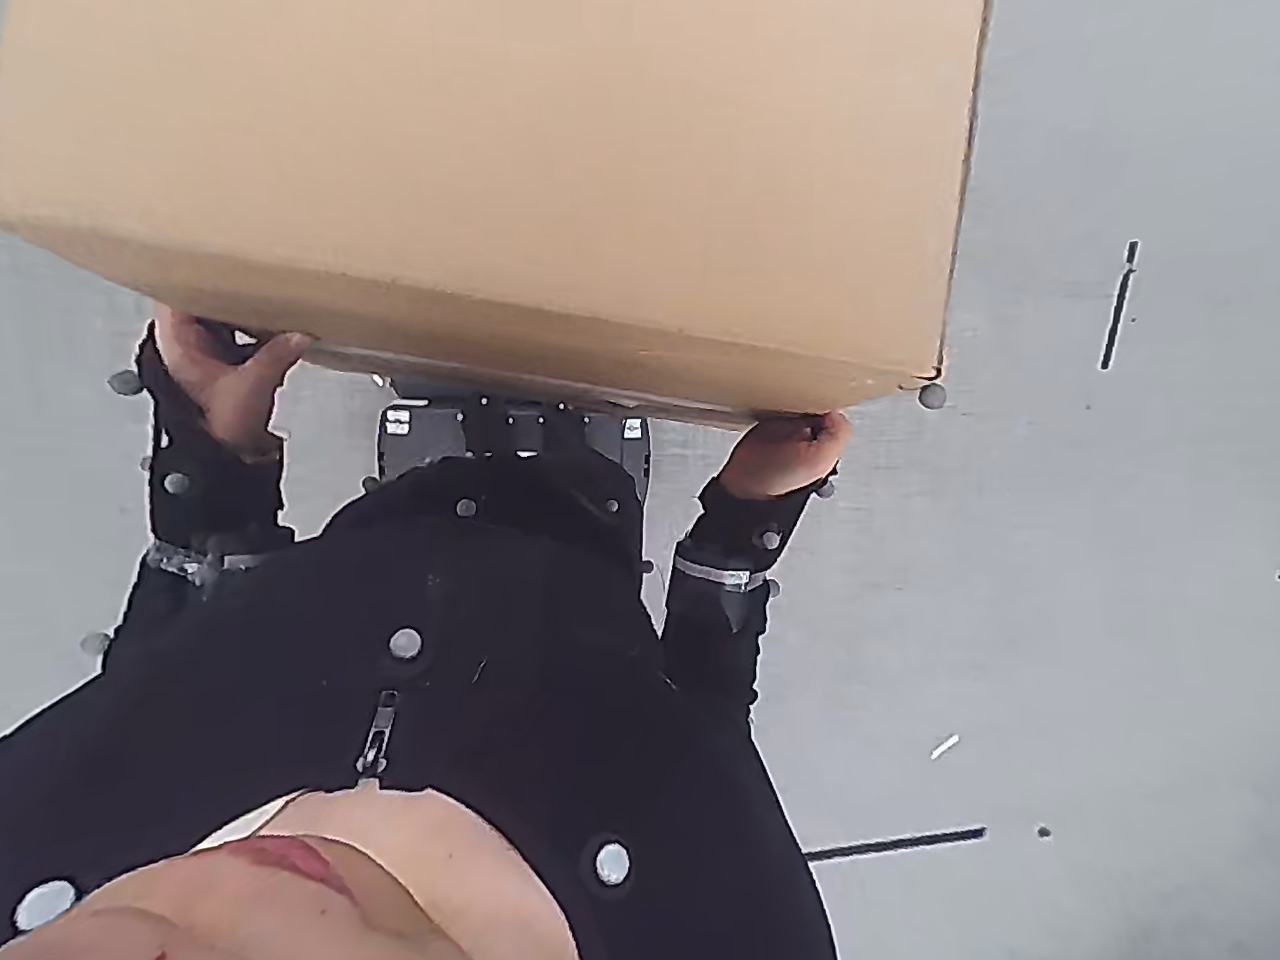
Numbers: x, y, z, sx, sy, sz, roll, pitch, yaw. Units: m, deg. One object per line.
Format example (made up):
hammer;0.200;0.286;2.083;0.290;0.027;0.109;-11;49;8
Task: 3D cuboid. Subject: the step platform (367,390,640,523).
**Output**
step platform;-0.341;-0.059;1.431;0.684;0.204;0.286;5;101;-10

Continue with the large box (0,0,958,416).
large box;-0.066;-0.235;0.375;0.408;0.320;0.320;6;92;-7
